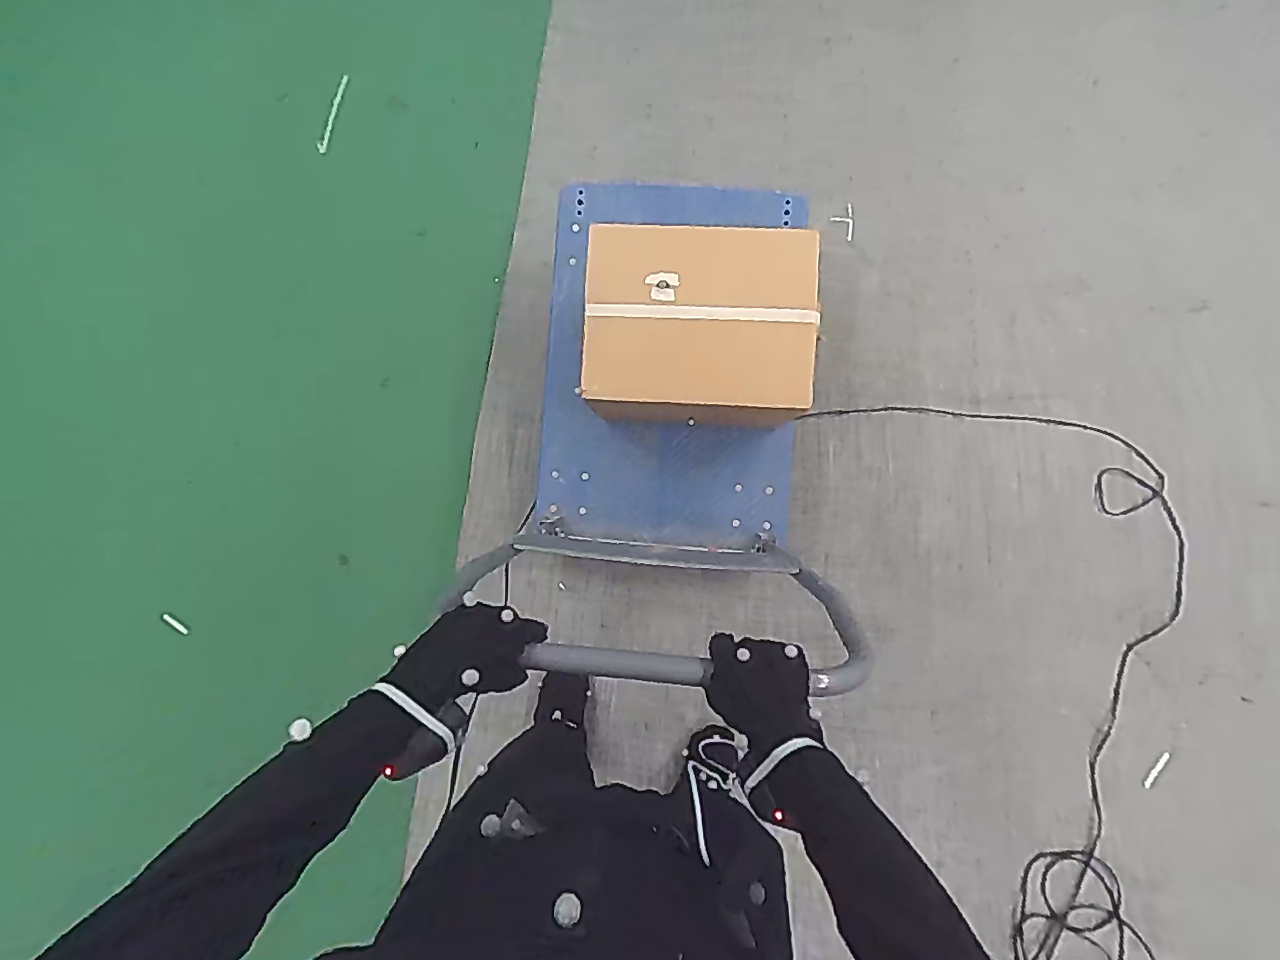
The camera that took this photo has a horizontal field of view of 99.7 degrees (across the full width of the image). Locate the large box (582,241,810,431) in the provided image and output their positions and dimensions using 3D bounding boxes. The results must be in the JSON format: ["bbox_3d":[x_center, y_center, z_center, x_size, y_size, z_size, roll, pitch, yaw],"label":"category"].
[{"bbox_3d":[0.111,-0.269,1.110,0.408,0.320,0.320,2,88,5],"label":"large box"}]
